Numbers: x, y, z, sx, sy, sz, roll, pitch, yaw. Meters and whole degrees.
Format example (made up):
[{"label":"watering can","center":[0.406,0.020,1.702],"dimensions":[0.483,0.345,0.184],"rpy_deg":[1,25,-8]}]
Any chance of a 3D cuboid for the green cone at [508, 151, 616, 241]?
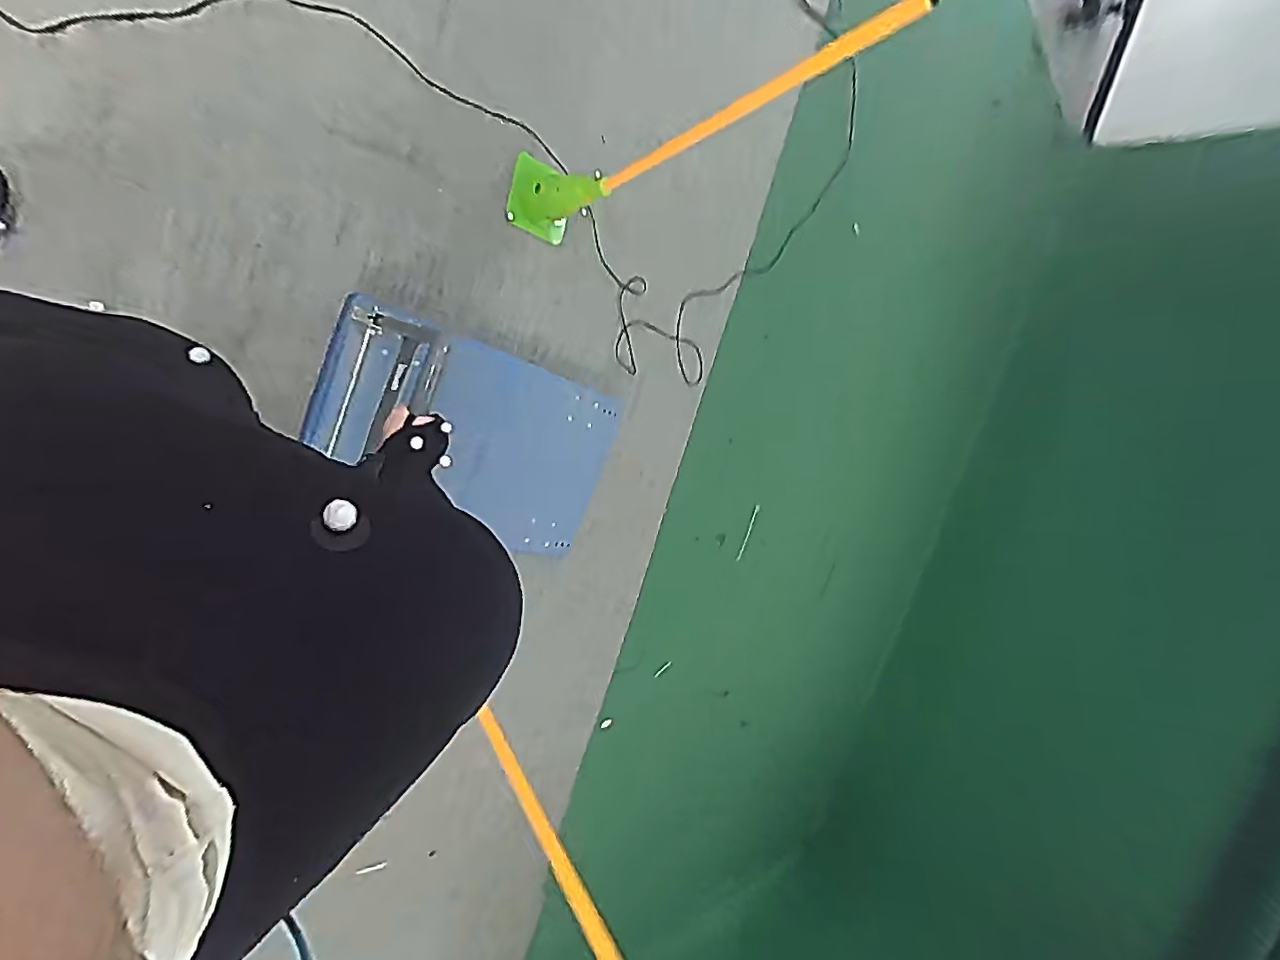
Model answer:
[{"label":"green cone","center":[-0.186,-0.806,1.504],"dimensions":[0.200,0.368,0.202],"rpy_deg":[6,101,-42]}]
